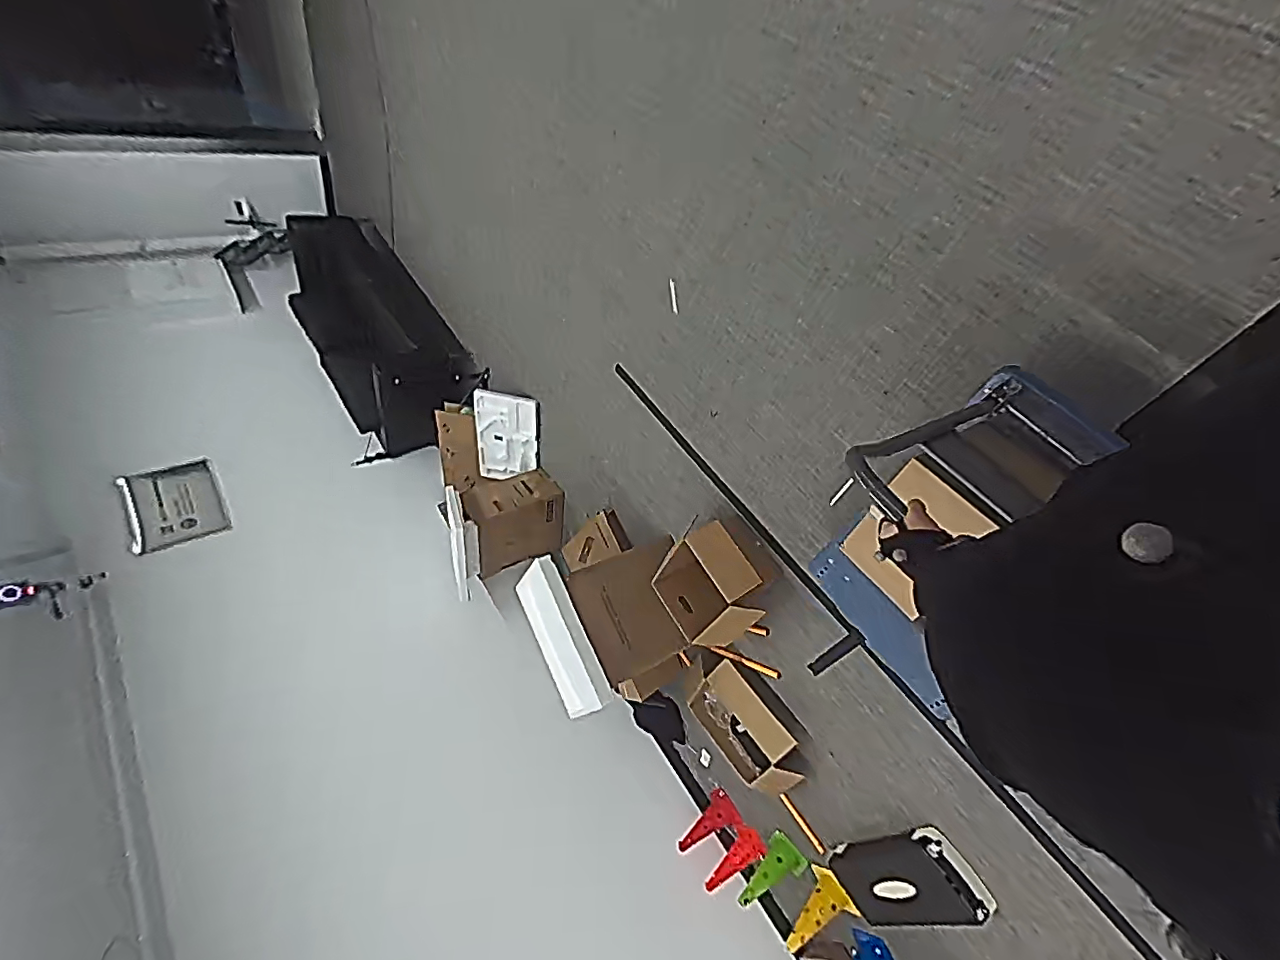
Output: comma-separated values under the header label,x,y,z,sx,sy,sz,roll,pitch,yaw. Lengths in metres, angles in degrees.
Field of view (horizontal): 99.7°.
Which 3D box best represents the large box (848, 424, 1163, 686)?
label,x,y,z,sx,sy,sz,roll,pitch,yaw
large box,0.756,0.145,1.164,0.408,0.320,0.320,50,142,28
